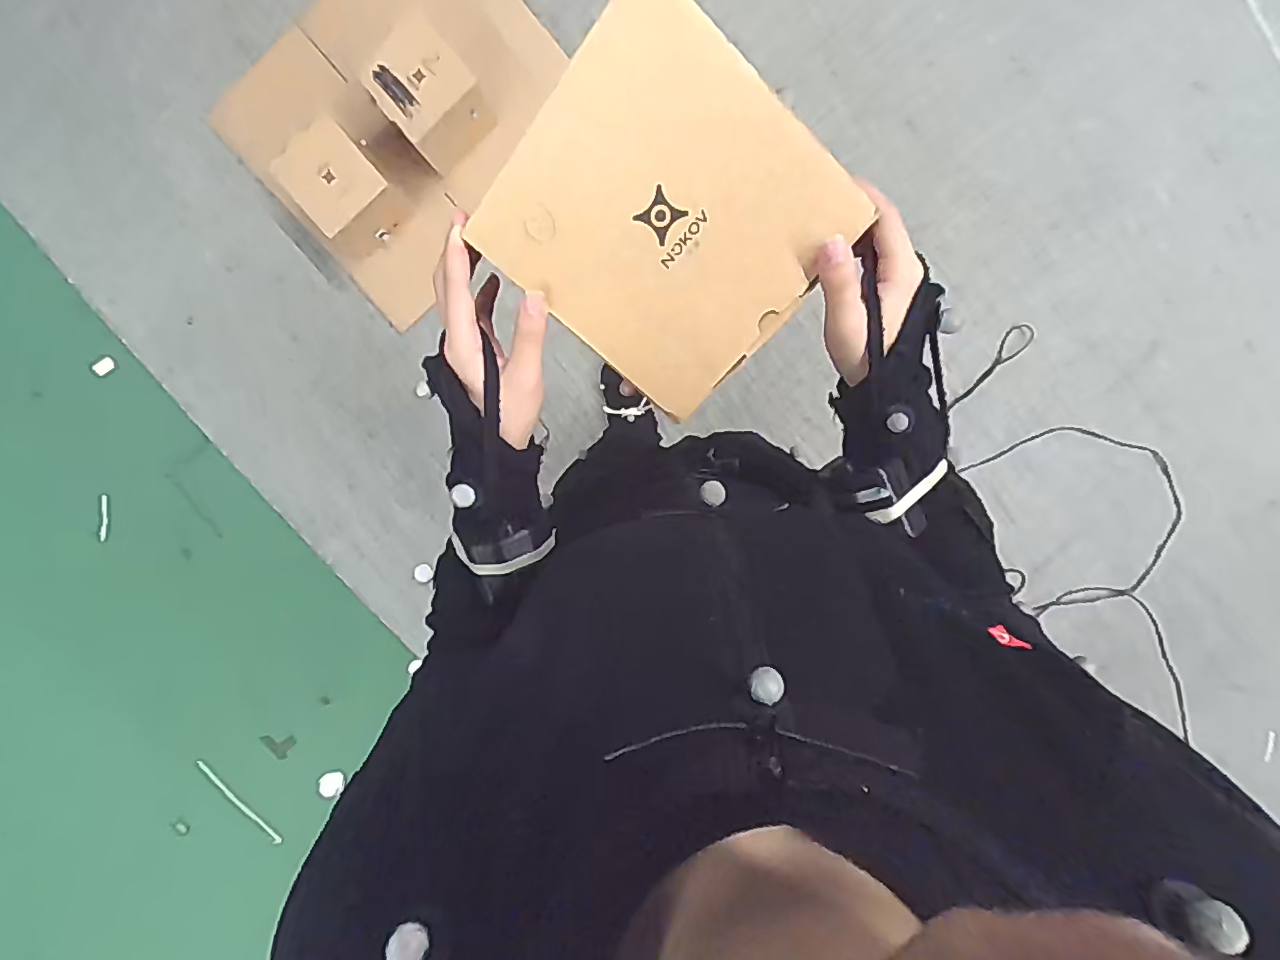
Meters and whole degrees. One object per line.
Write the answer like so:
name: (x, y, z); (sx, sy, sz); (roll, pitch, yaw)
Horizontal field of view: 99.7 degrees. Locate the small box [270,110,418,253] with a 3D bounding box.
small box: (-0.612, -0.614, 1.141); (0.168, 0.176, 0.179); (-40, 99, 5)
